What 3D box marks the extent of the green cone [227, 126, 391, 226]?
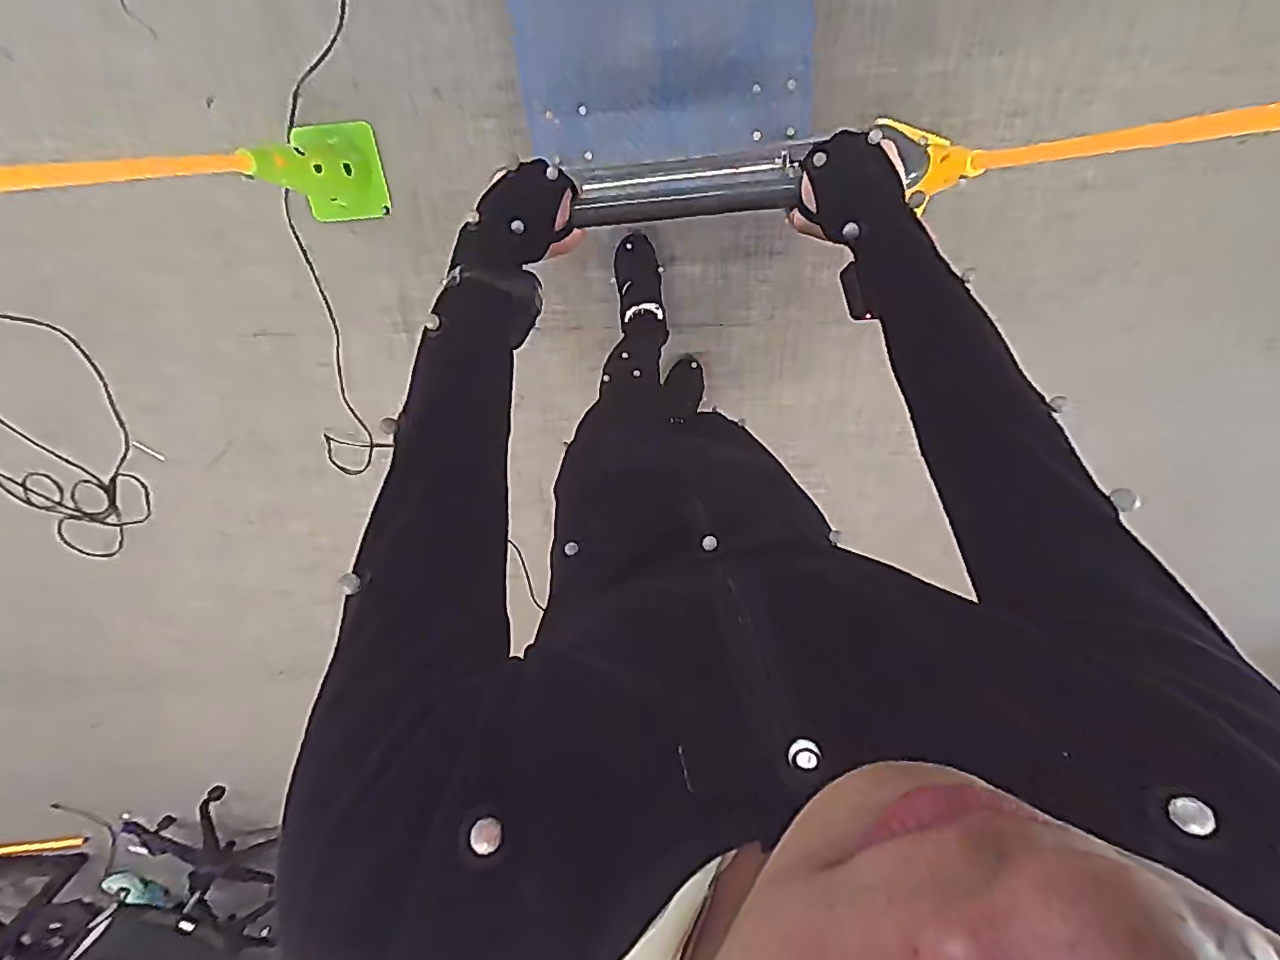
[{"bbox_3d":[-0.721,-0.652,1.144,0.202,0.368,0.200,-3,116,4],"label":"green cone"}]
